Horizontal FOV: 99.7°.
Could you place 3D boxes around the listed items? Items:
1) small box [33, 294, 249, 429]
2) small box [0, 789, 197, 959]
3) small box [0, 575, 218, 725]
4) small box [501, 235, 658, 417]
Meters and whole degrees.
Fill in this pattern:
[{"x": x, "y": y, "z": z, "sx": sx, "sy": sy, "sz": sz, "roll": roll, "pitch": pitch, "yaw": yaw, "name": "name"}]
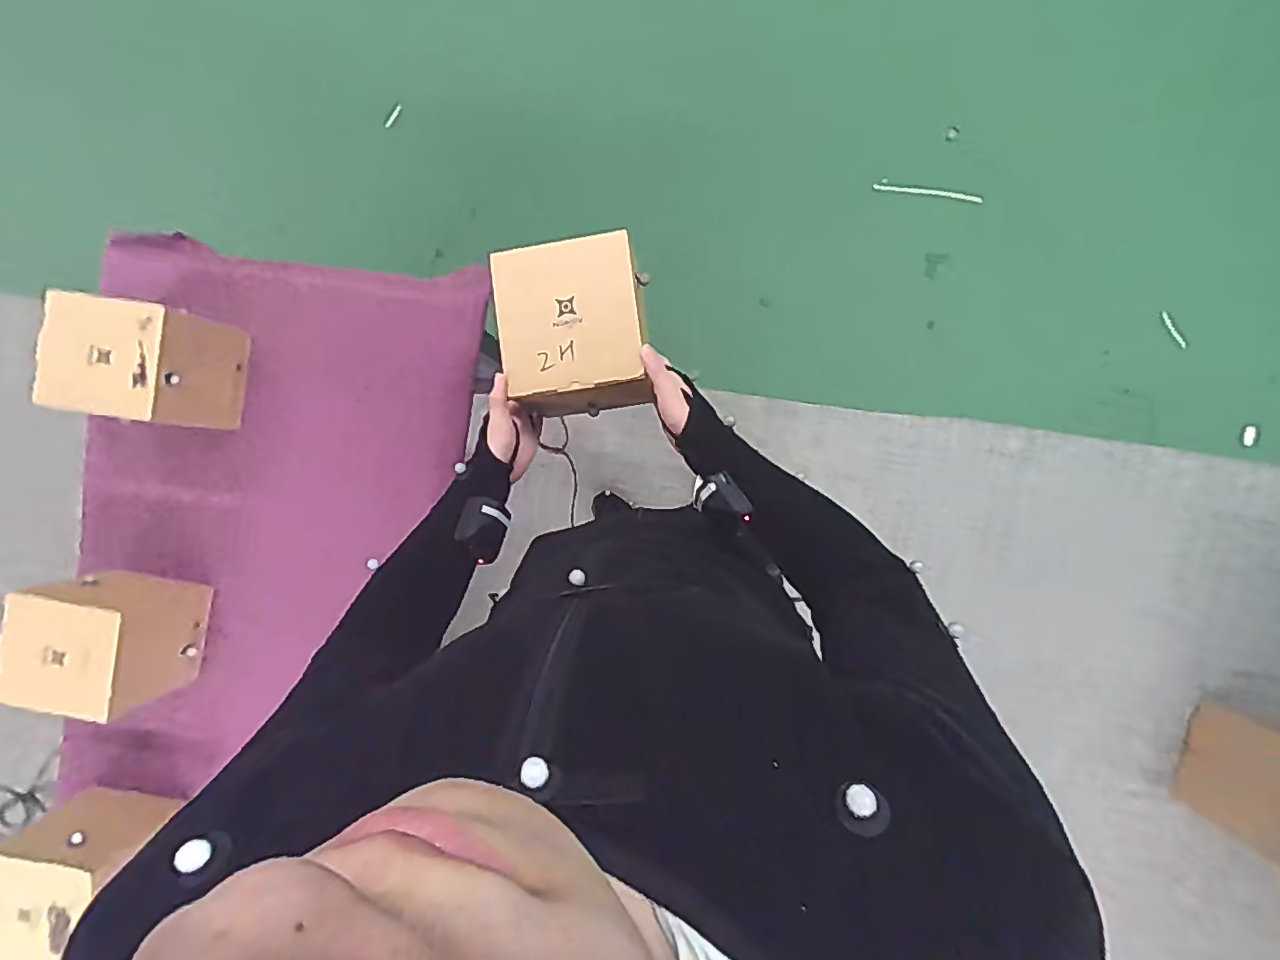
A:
[{"x": -0.759, "y": -0.173, "z": 0.839, "sx": 0.179, "sy": 0.176, "sz": 0.168, "roll": 8, "pitch": 94, "yaw": 1, "name": "small box"}, {"x": -0.870, "y": 0.633, "z": 0.873, "sx": 0.179, "sy": 0.176, "sz": 0.168, "roll": 8, "pitch": 92, "yaw": 0, "name": "small box"}, {"x": -0.831, "y": 0.257, "z": 0.861, "sx": 0.179, "sy": 0.176, "sz": 0.168, "roll": 10, "pitch": 93, "yaw": 0, "name": "small box"}, {"x": -0.069, "y": -0.187, "z": 0.705, "sx": 0.168, "sy": 0.176, "sz": 0.179, "roll": -7, "pitch": 89, "yaw": 5, "name": "small box"}]
